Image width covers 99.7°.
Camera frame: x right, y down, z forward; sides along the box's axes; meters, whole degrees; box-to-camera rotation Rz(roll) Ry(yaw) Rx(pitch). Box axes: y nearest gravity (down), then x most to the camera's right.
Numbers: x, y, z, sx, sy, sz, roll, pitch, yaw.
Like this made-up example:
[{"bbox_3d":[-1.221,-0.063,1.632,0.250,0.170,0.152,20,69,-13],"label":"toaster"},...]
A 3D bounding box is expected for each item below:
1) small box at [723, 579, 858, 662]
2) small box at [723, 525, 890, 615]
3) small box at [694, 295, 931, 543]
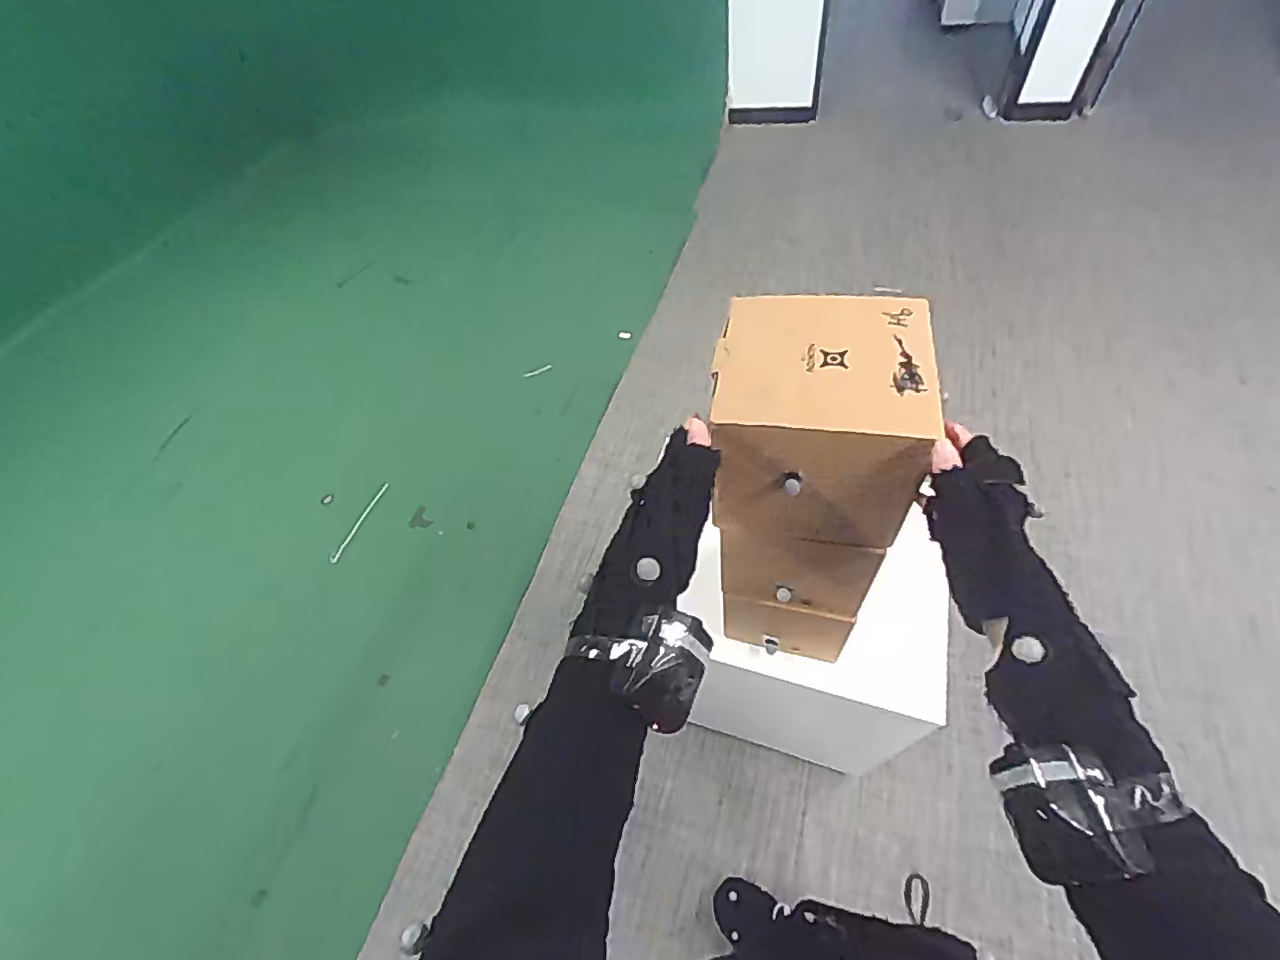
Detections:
[{"bbox_3d":[0.217,0.136,0.774,0.168,0.176,0.179,8,58,17],"label":"small box"},{"bbox_3d":[0.192,0.037,0.646,0.168,0.176,0.179,5,54,15],"label":"small box"},{"bbox_3d":[0.157,-0.055,0.514,0.179,0.176,0.168,5,56,15],"label":"small box"}]
